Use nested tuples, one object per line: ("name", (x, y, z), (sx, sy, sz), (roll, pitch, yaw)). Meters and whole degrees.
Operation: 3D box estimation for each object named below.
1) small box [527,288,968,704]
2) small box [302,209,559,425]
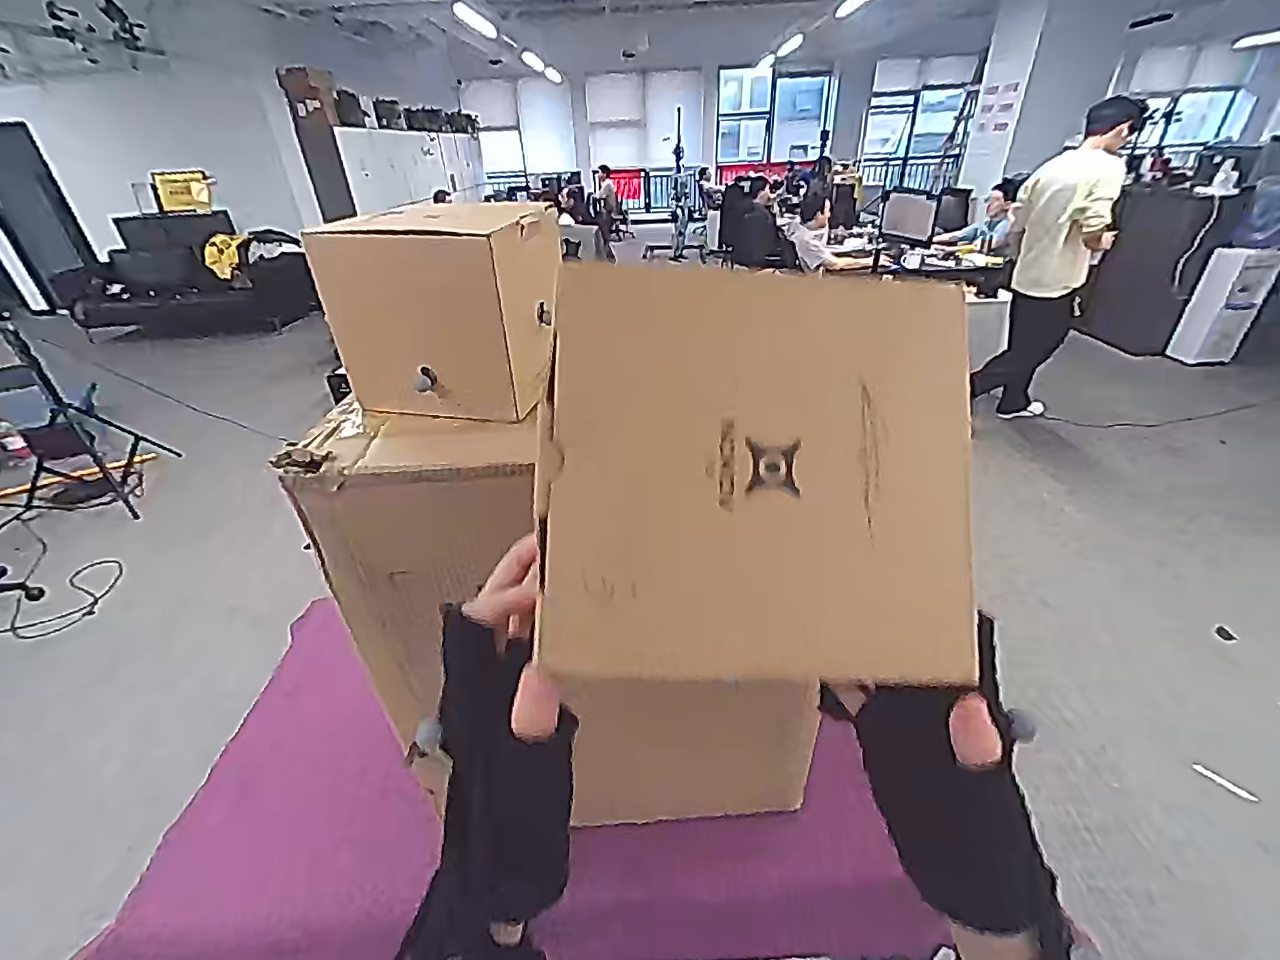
("small box", (0.042, 0.012, 0.297), (0.179, 0.168, 0.176), (2, -5, -4))
("small box", (-0.183, -0.168, 0.547), (0.179, 0.176, 0.168), (6, 34, 11))
